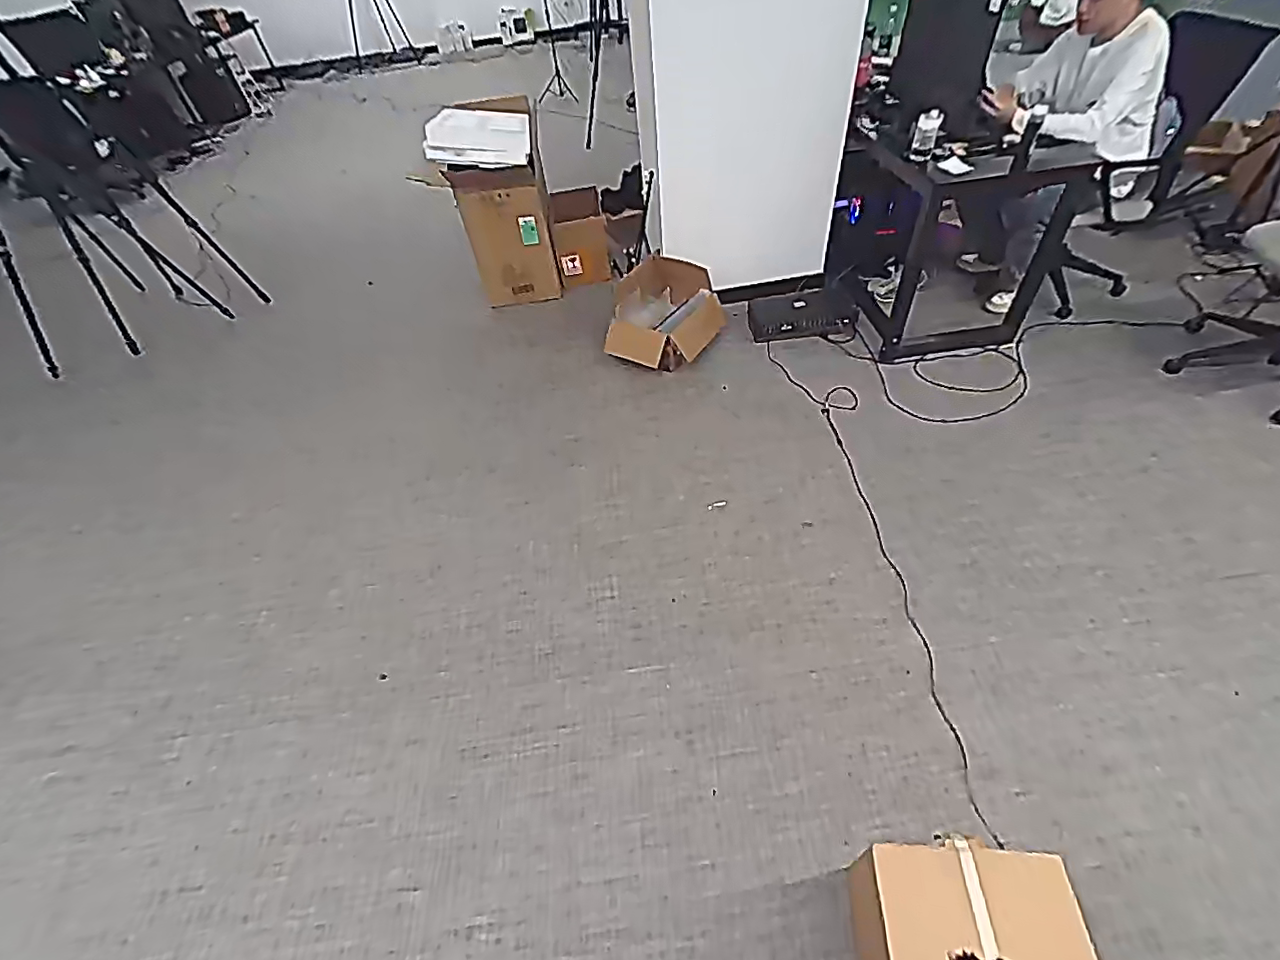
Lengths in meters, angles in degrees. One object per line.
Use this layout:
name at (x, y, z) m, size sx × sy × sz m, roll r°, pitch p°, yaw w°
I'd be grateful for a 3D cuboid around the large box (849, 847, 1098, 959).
large box at (0.583, 0.905, 0.943) m, size 0.320 × 0.320 × 0.408 m, roll -2°, pitch 49°, yaw 9°
